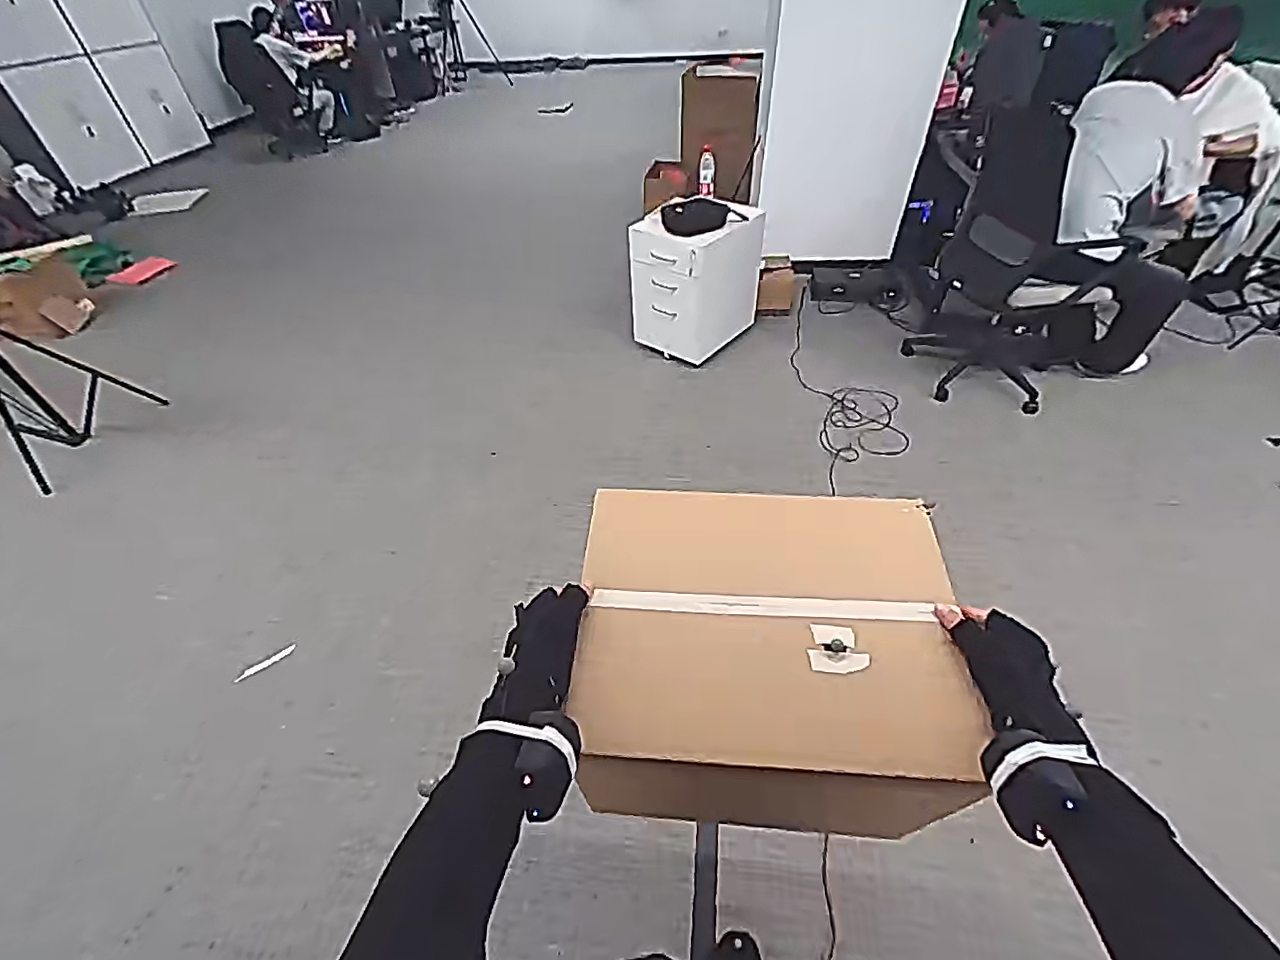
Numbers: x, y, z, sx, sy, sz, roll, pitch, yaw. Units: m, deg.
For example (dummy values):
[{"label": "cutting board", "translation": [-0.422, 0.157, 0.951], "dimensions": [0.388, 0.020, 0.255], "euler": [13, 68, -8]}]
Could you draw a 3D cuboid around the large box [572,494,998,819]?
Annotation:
[{"label": "large box", "translation": [0.142, 0.234, 0.710], "dimensions": [0.408, 0.320, 0.320], "euler": [2, 50, 4]}]
